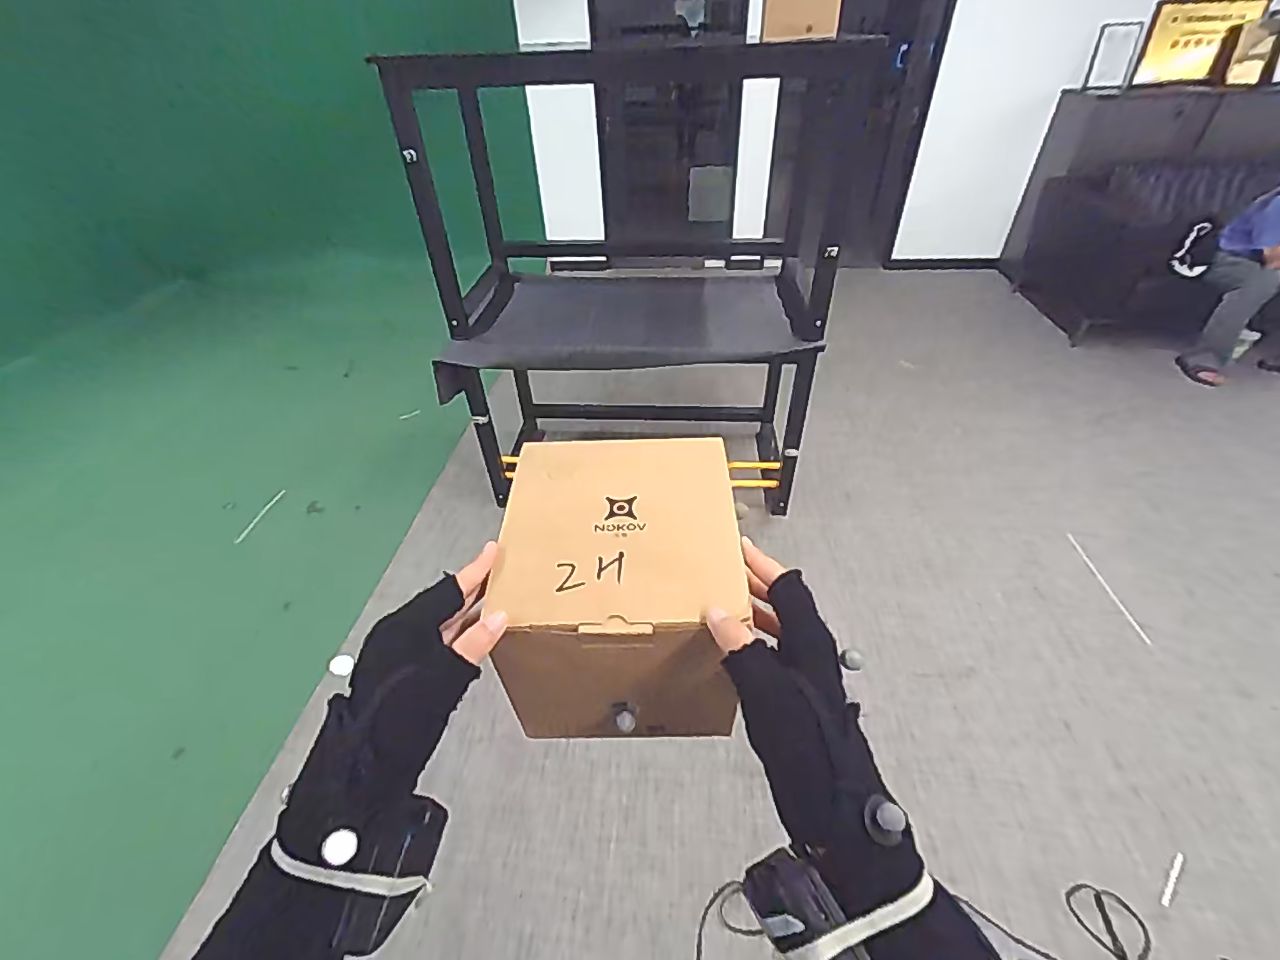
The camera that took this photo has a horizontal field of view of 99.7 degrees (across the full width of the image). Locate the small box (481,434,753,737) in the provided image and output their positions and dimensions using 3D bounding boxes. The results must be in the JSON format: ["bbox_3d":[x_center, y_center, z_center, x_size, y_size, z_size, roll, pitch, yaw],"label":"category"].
[{"bbox_3d":[-0.010,0.081,0.433,0.168,0.176,0.179,-2,43,2],"label":"small box"}]
